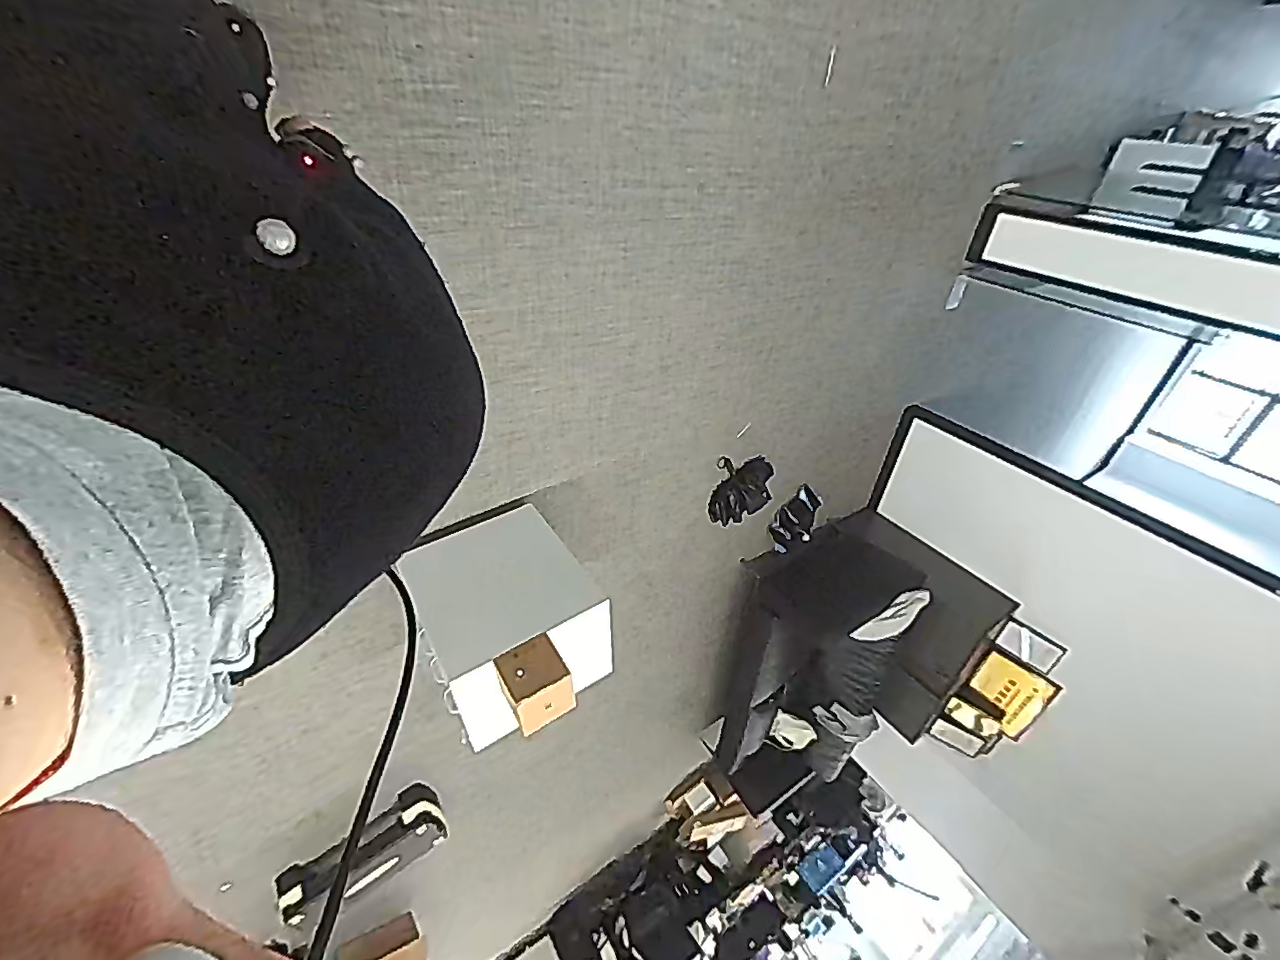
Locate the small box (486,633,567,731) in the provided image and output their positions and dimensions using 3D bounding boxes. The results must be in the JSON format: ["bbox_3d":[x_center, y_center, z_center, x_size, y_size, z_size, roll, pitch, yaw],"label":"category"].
[{"bbox_3d":[-0.322,0.562,1.532,0.168,0.176,0.179,-23,137,-25],"label":"small box"}]
